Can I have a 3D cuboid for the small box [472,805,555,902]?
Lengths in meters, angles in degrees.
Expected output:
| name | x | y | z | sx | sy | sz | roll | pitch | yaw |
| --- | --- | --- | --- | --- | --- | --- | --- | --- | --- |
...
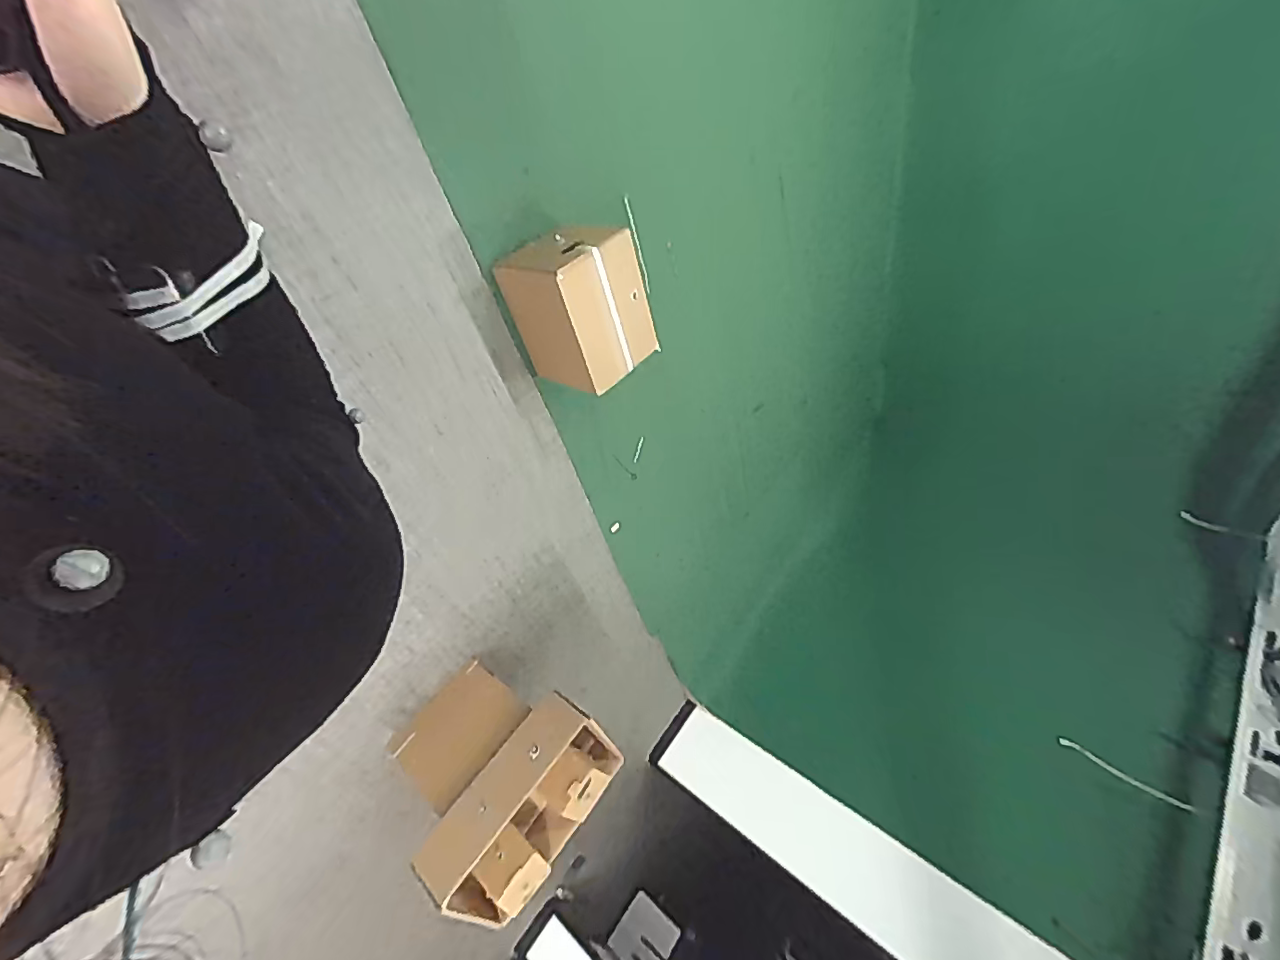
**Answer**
| name | x | y | z | sx | sy | sz | roll | pitch | yaw |
| --- | --- | --- | --- | --- | --- | --- | --- | --- | --- |
| small box | -0.407 | 1.185 | 1.728 | 0.168 | 0.176 | 0.179 | -41 | 135 | -30 |
